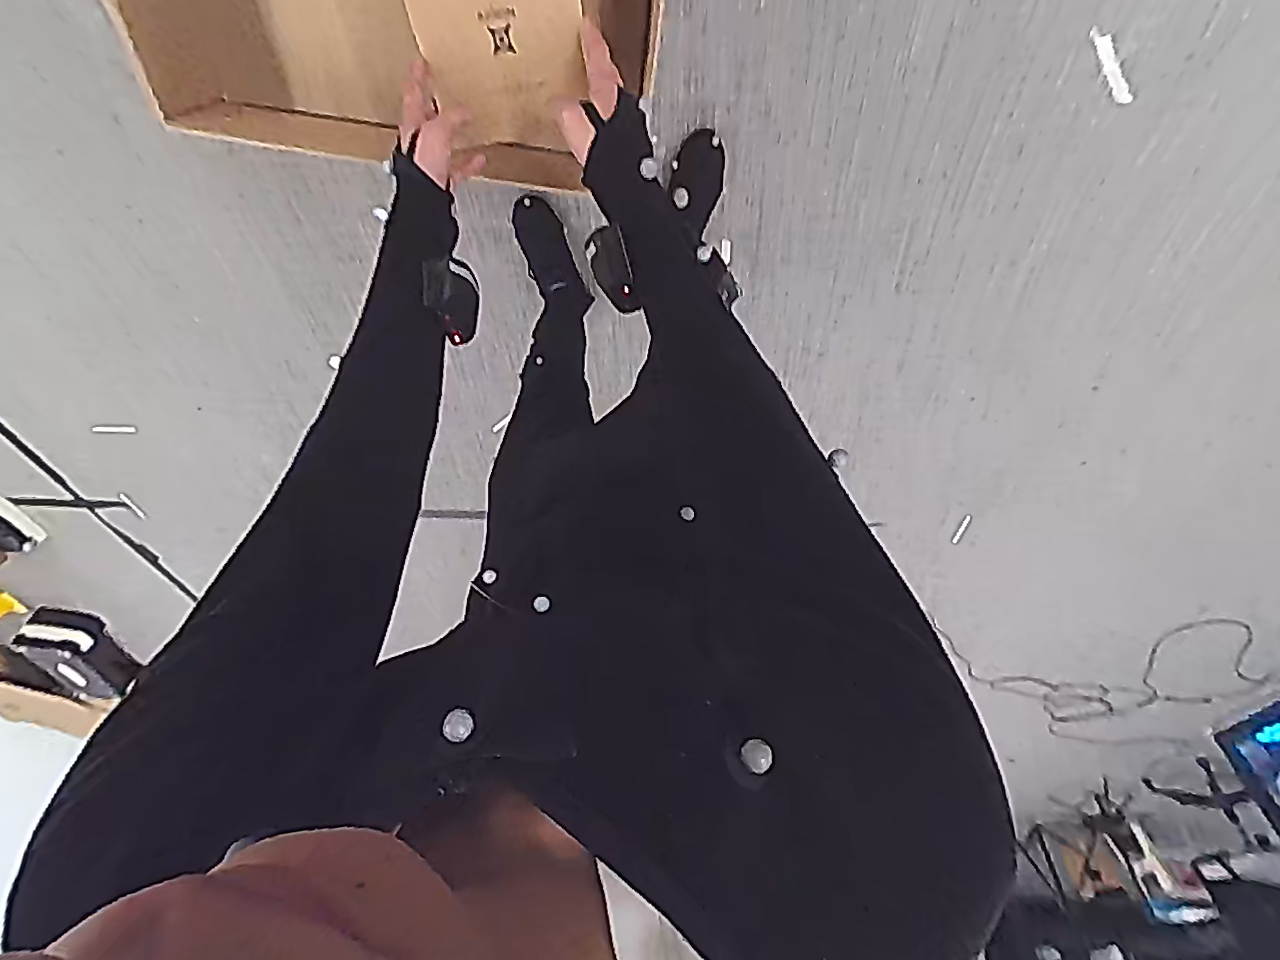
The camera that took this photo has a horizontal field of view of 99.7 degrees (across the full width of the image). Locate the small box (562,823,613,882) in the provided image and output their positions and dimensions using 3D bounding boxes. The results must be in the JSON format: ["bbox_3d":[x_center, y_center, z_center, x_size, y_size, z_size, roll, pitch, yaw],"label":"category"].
[{"bbox_3d":[-0.201,1.476,2.142,0.179,0.176,0.168,0,136,6],"label":"small box"}]

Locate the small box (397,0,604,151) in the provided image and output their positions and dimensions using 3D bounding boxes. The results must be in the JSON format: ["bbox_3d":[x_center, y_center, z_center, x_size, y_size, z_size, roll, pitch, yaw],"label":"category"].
[{"bbox_3d":[-0.135,-0.469,0.564,0.168,0.176,0.179,-4,133,6],"label":"small box"}]
